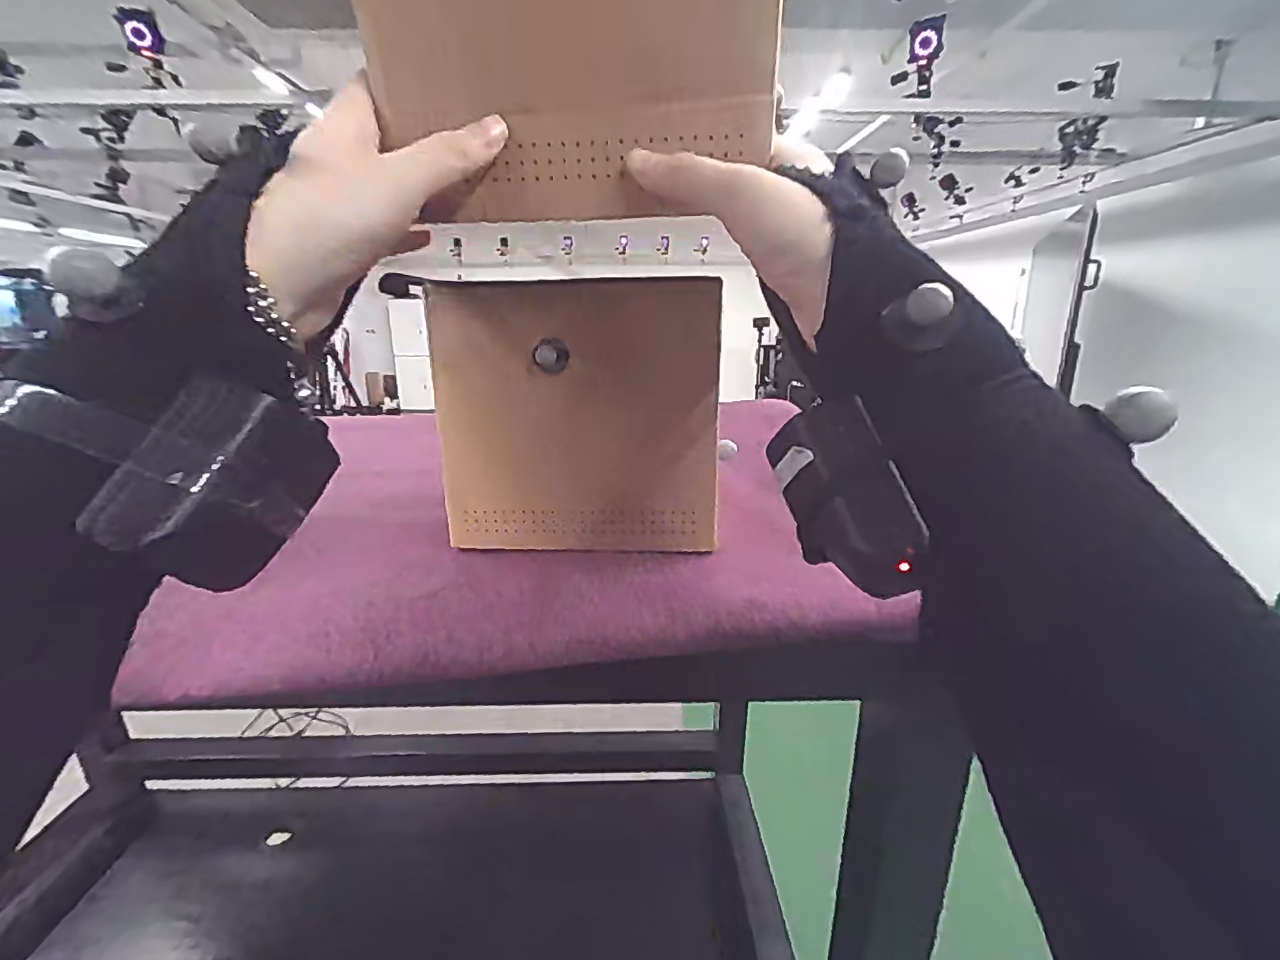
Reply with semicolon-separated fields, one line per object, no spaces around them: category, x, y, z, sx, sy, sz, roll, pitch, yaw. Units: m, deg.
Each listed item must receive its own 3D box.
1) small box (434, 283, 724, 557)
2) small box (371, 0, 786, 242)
small box;-0.029;-0.049;0.407;0.179;0.176;0.168;1;15;5
small box;-0.022;-0.219;0.281;0.179;0.176;0.168;1;27;4
